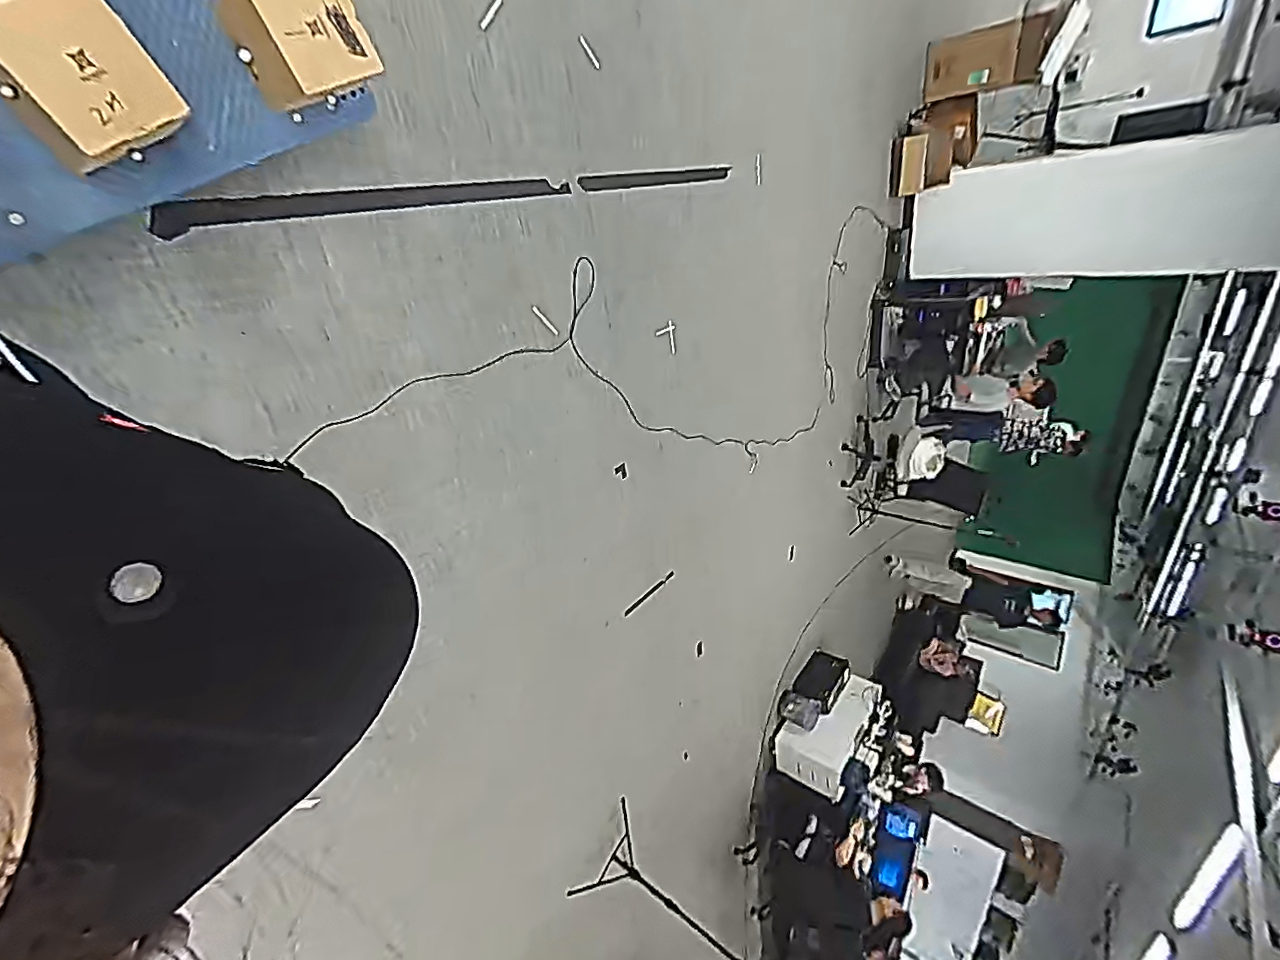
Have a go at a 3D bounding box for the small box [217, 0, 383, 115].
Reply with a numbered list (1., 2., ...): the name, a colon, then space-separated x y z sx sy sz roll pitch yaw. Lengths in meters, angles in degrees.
1. small box: -0.630 -0.811 1.006 0.179 0.176 0.168 -48 134 -30

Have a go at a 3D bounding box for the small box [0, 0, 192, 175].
1. small box: -0.841 -0.591 0.810 0.168 0.176 0.179 -53 136 -27
